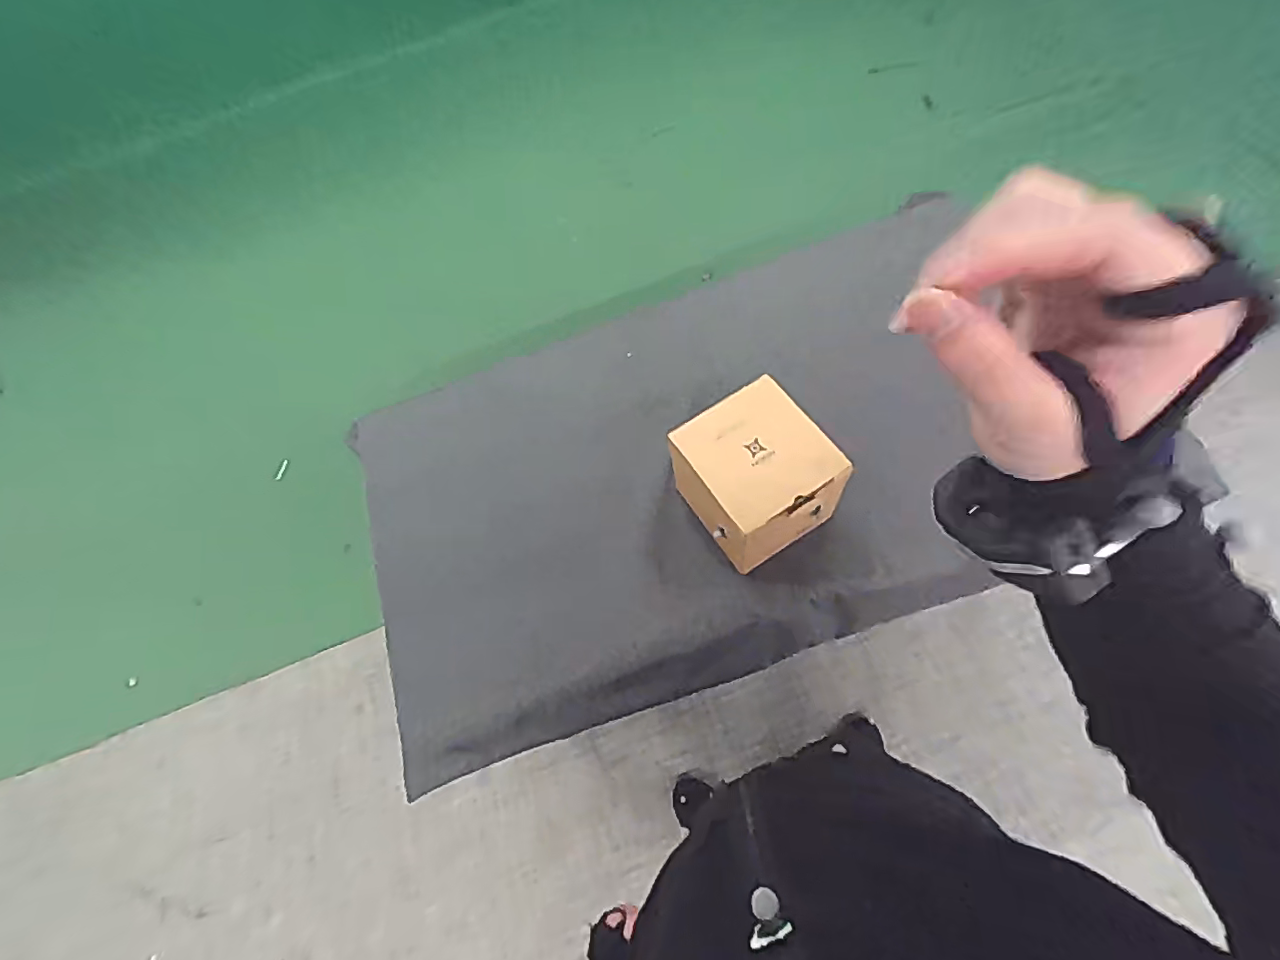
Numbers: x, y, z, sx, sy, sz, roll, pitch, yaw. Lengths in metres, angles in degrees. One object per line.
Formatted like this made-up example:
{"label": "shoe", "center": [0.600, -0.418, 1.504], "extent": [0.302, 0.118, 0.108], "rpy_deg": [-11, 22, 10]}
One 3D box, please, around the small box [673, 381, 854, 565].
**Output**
{"label": "small box", "center": [0.165, 0.002, 0.764], "extent": [0.168, 0.176, 0.179], "rpy_deg": [-32, 63, -8]}
